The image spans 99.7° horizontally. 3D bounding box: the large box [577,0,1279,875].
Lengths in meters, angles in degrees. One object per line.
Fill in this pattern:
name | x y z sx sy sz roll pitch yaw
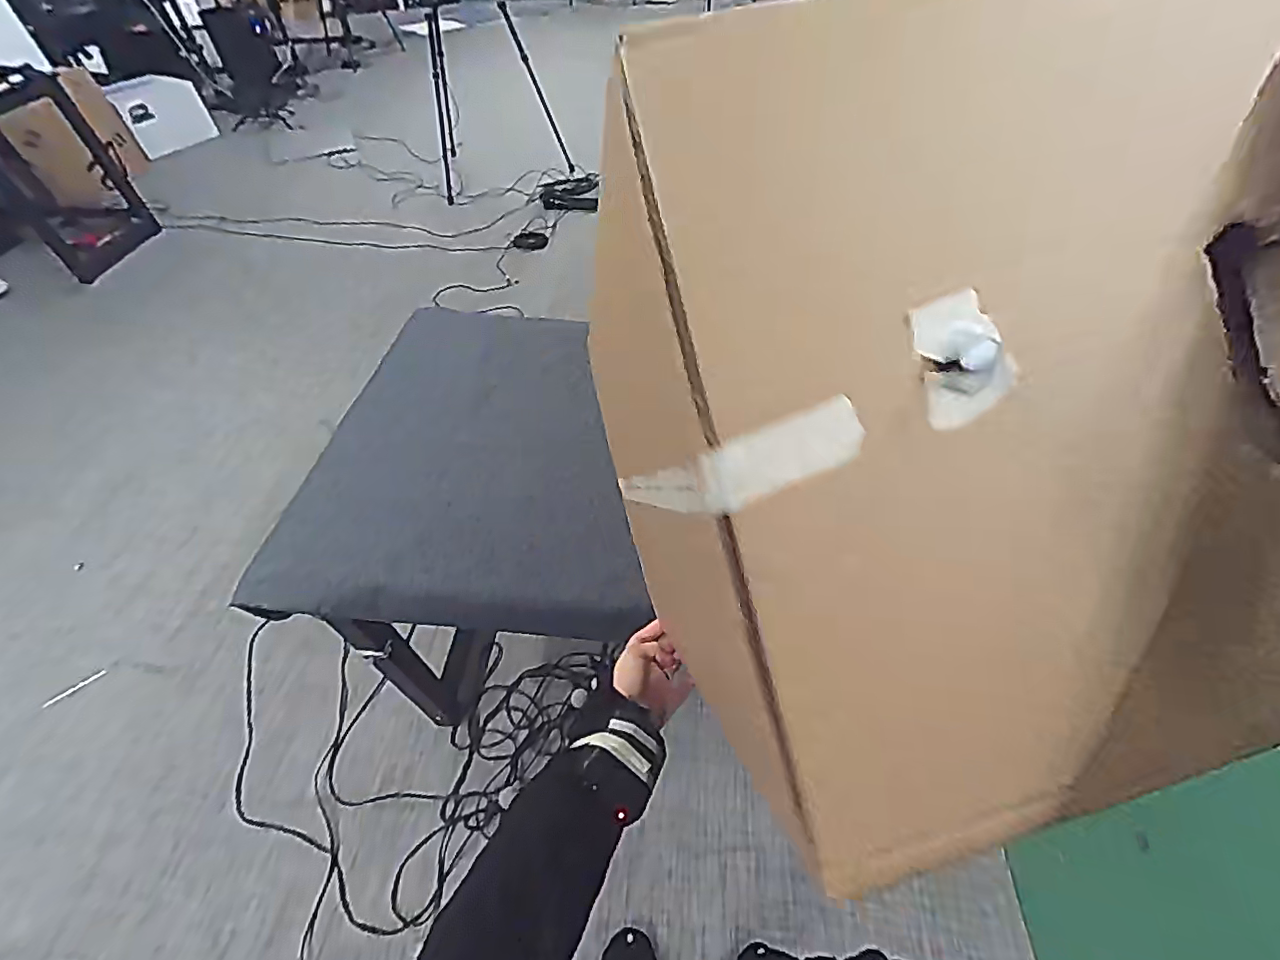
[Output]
large box | 0.146 -0.035 0.405 0.320 0.408 0.320 -15 92 -9
